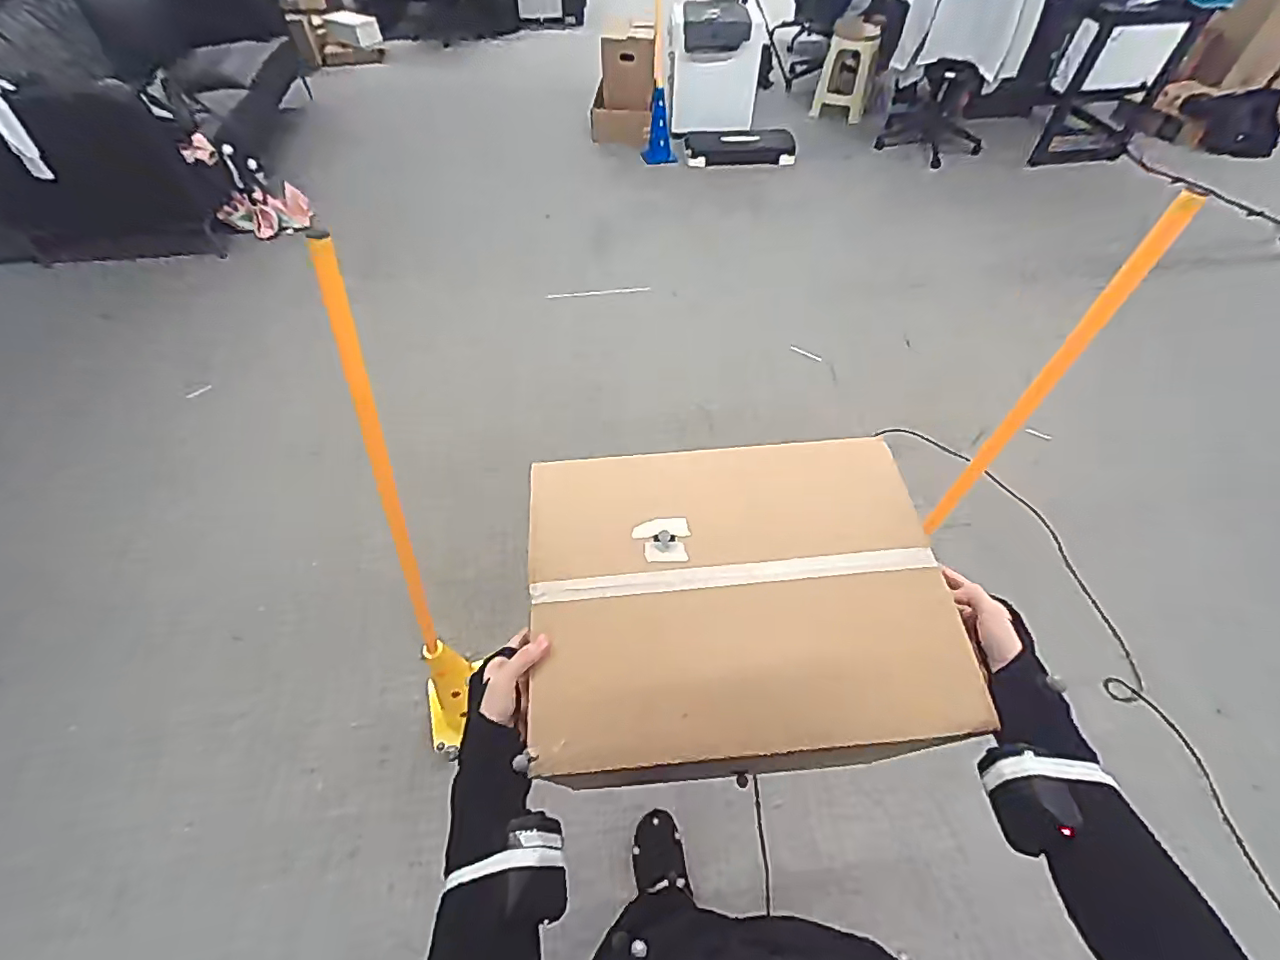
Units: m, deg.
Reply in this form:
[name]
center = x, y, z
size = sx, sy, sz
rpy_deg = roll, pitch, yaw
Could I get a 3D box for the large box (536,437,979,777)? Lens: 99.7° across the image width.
[large box]
center = 0.098, 0.174, 0.678
size = 0.408, 0.320, 0.320
rpy_deg = -5, 58, -1
